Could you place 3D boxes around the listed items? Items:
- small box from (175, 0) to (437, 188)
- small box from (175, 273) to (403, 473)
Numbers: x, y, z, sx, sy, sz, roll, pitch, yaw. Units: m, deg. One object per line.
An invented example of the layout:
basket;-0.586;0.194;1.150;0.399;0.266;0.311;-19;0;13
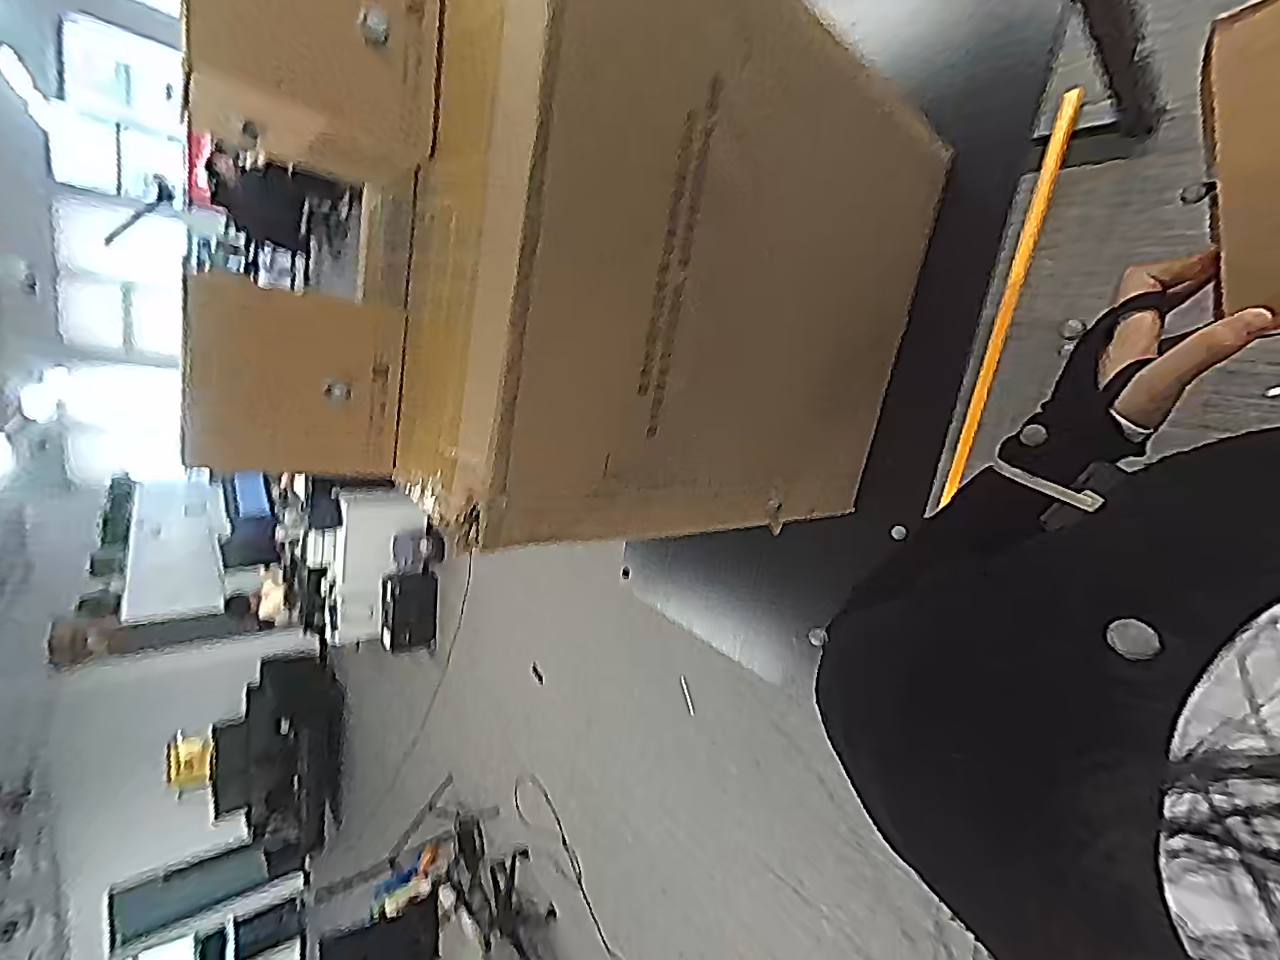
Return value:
small box;-0.292;-0.377;0.470;0.179;0.176;0.168;19;106;48
small box;-0.360;-0.103;0.553;0.179;0.176;0.168;20;105;48
